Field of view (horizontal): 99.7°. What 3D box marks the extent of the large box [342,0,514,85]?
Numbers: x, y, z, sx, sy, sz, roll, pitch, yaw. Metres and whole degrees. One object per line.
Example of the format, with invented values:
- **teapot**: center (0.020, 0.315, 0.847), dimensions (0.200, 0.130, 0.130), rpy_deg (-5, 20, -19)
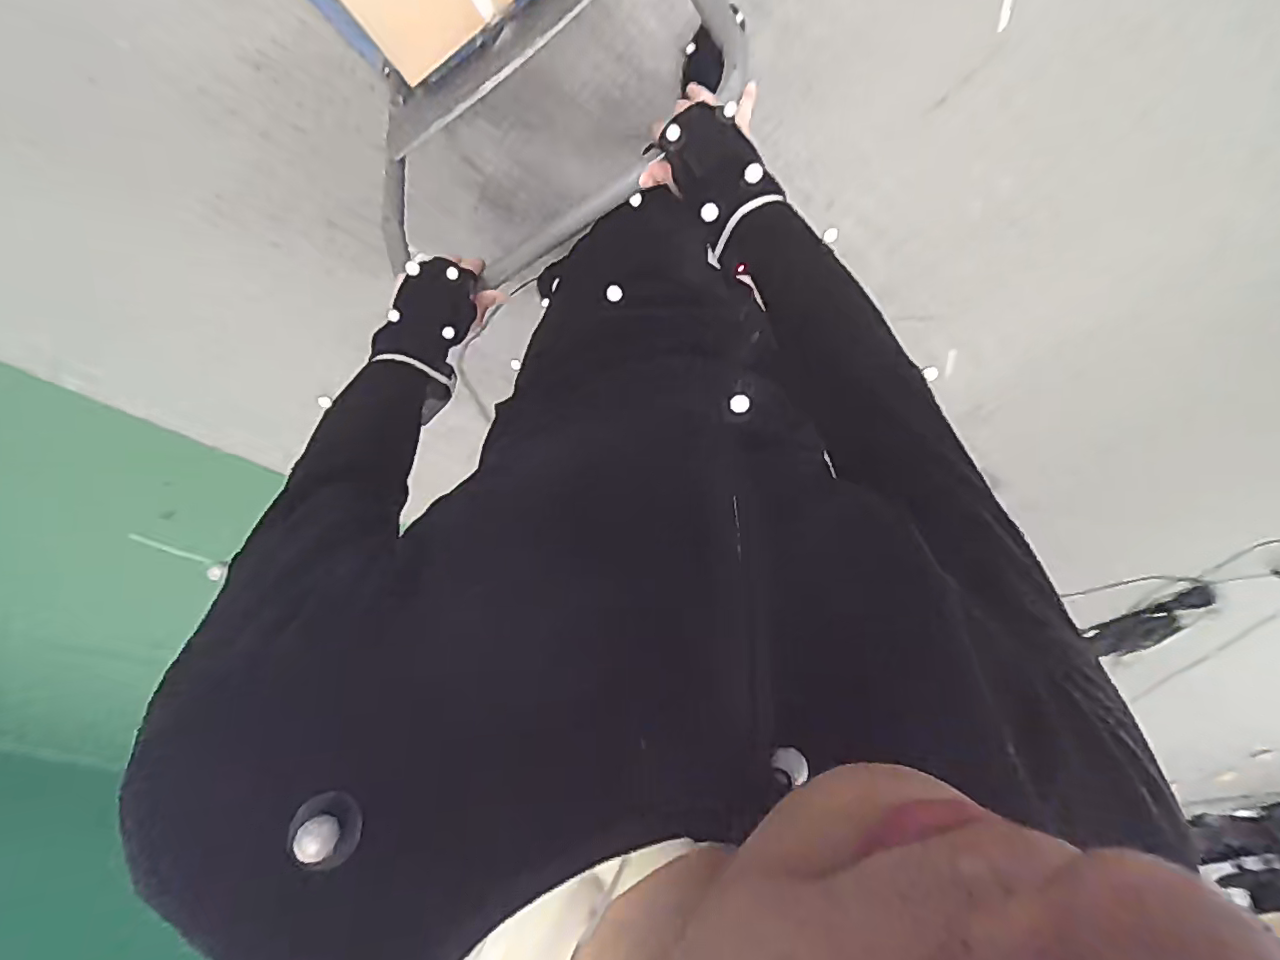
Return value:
- **large box**: center (-0.324, -0.849, 0.692), dimensions (0.320, 0.320, 0.408), rpy_deg (-26, 143, 20)
